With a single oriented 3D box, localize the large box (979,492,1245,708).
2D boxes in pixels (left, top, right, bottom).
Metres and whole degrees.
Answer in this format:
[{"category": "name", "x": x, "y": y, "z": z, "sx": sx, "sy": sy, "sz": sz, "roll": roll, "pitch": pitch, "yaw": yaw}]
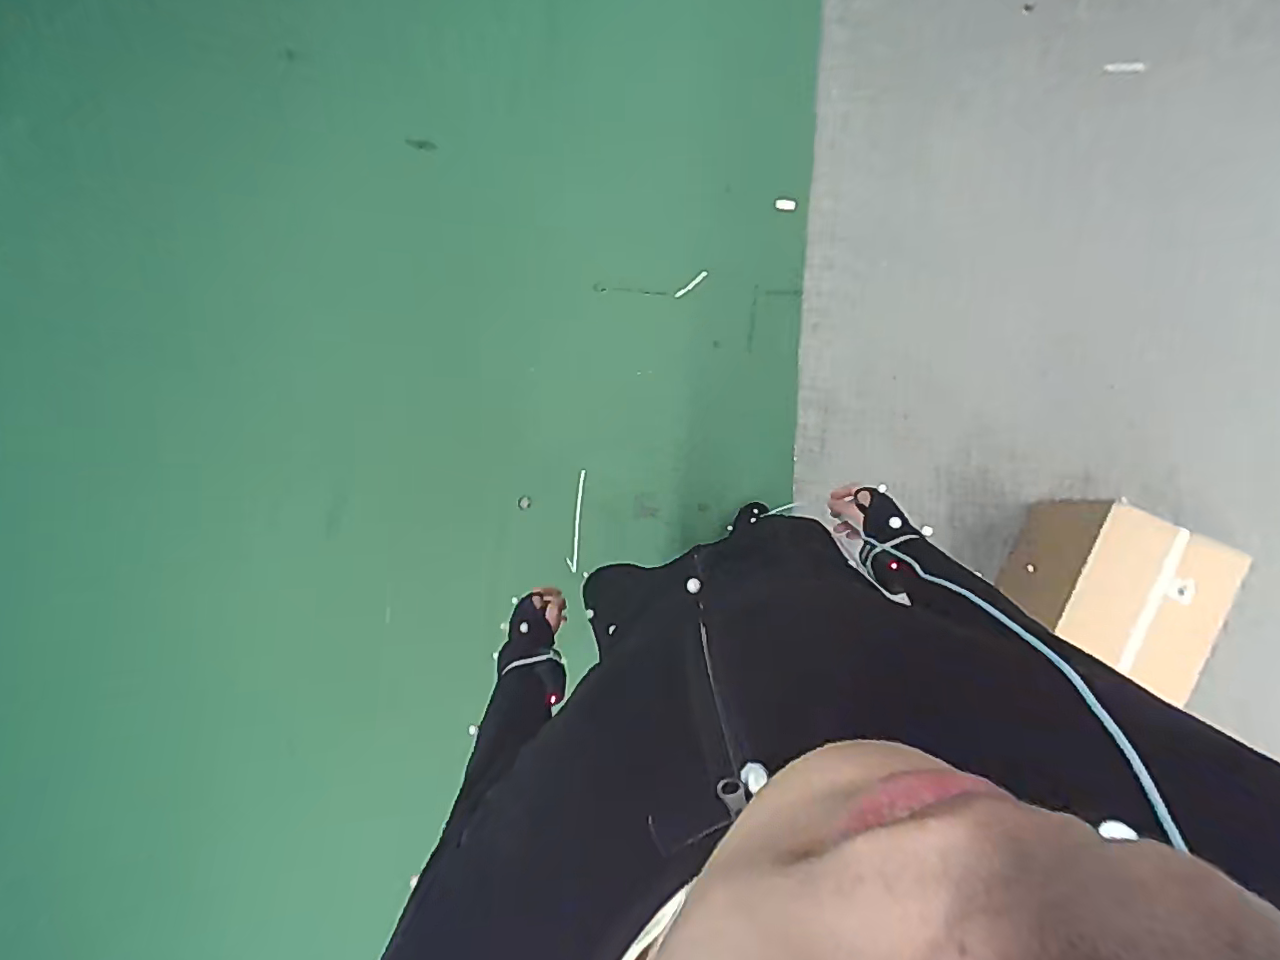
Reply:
[{"category": "large box", "x": 1.153, "y": 0.281, "z": 1.369, "sx": 0.320, "sy": 0.320, "sz": 0.408, "roll": 25, "pitch": 89, "yaw": 7}]
